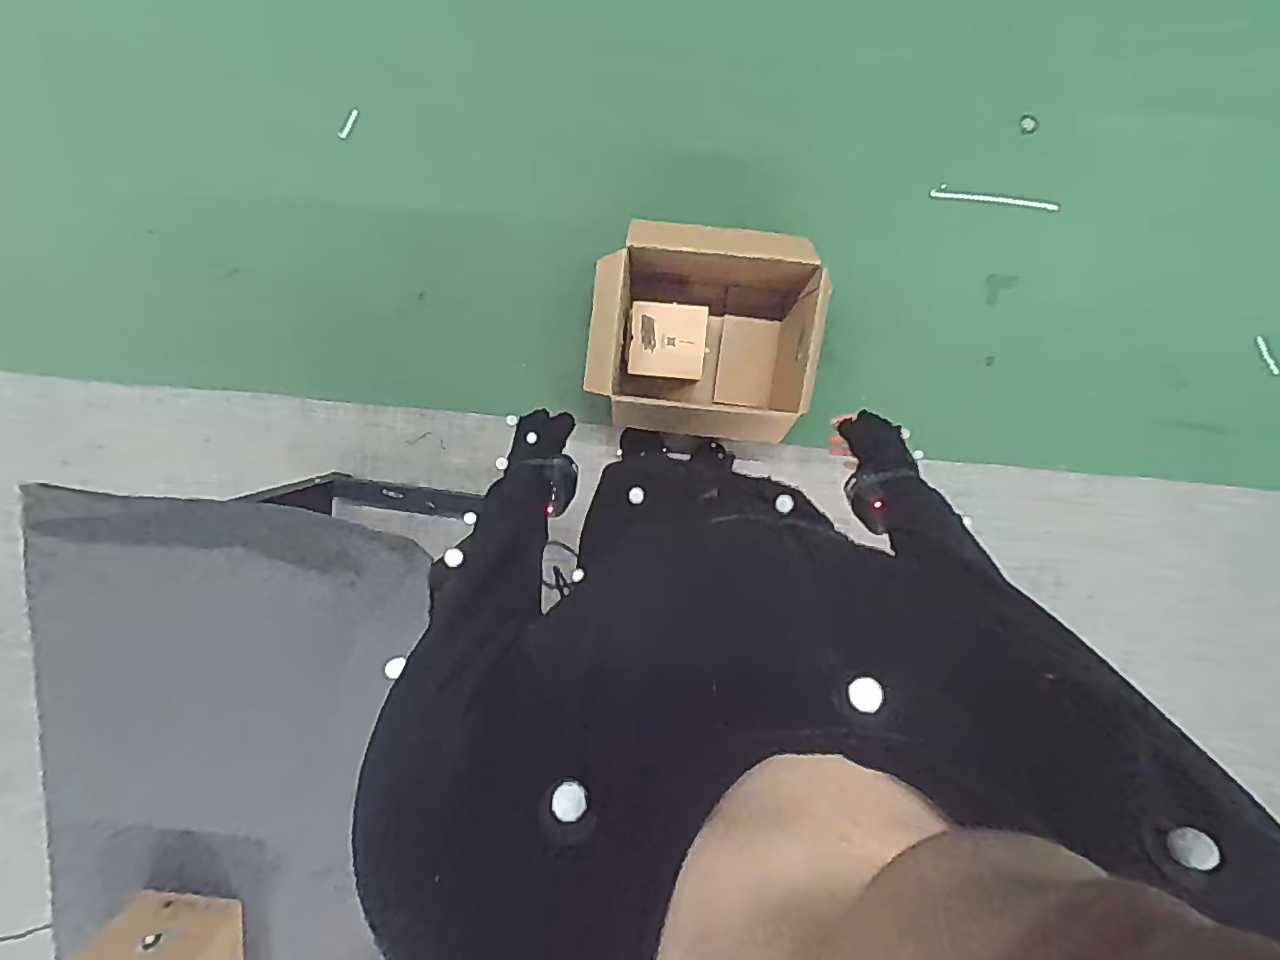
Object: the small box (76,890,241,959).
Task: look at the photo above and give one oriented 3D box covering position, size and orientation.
[{"bbox_3d":[-0.734,0.760,0.806,0.168,0.176,0.179,6,100,1],"label":"small box"}]
